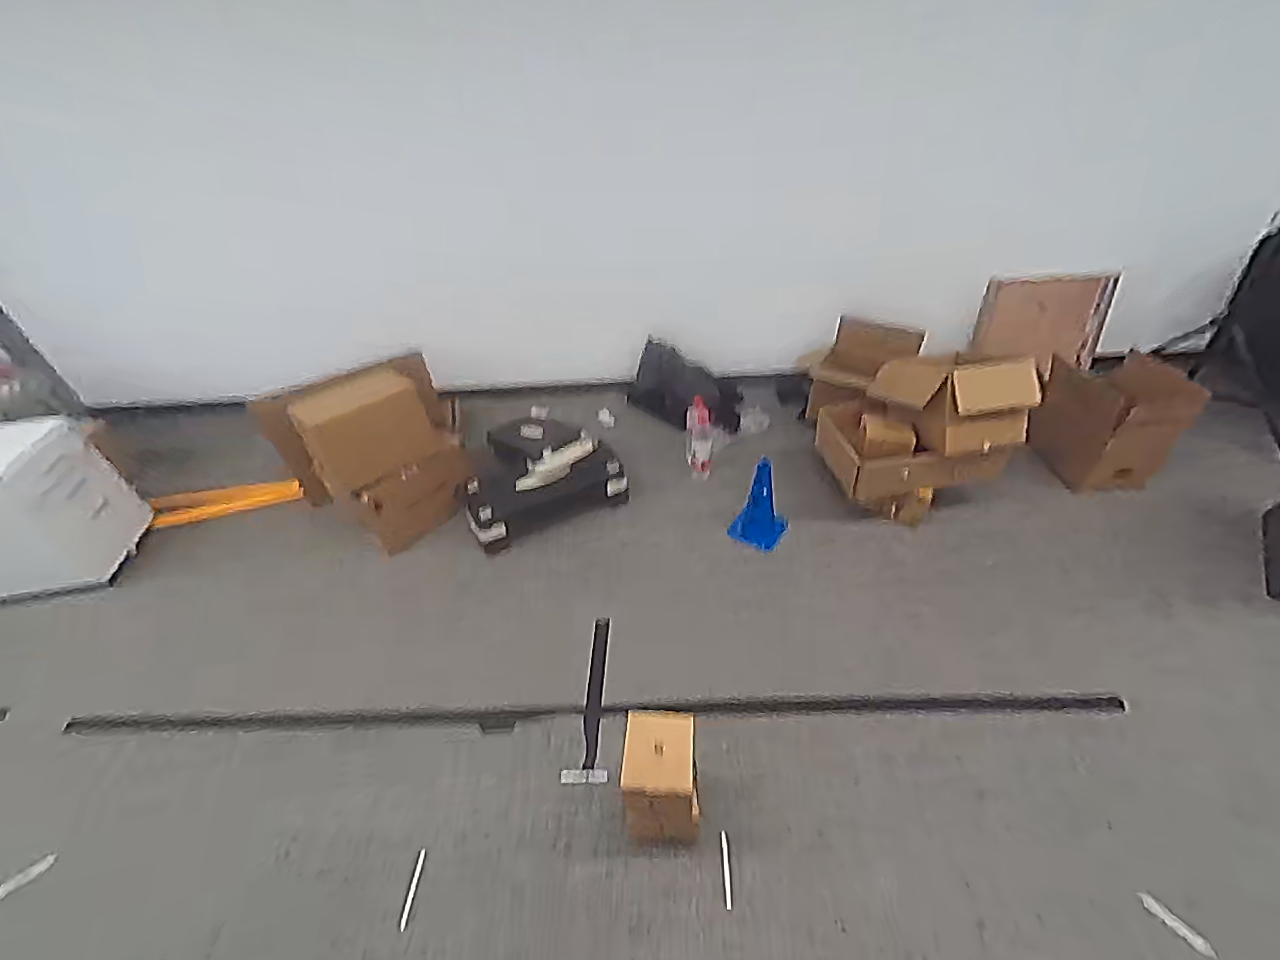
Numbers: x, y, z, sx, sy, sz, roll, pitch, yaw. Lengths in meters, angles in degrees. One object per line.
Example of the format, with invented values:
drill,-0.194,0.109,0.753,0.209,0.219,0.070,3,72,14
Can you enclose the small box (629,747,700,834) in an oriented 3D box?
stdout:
small box,0.066,0.824,1.441,0.179,0.176,0.168,-3,41,3

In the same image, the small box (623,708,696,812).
small box,0.052,0.694,1.343,0.168,0.176,0.179,1,42,7
